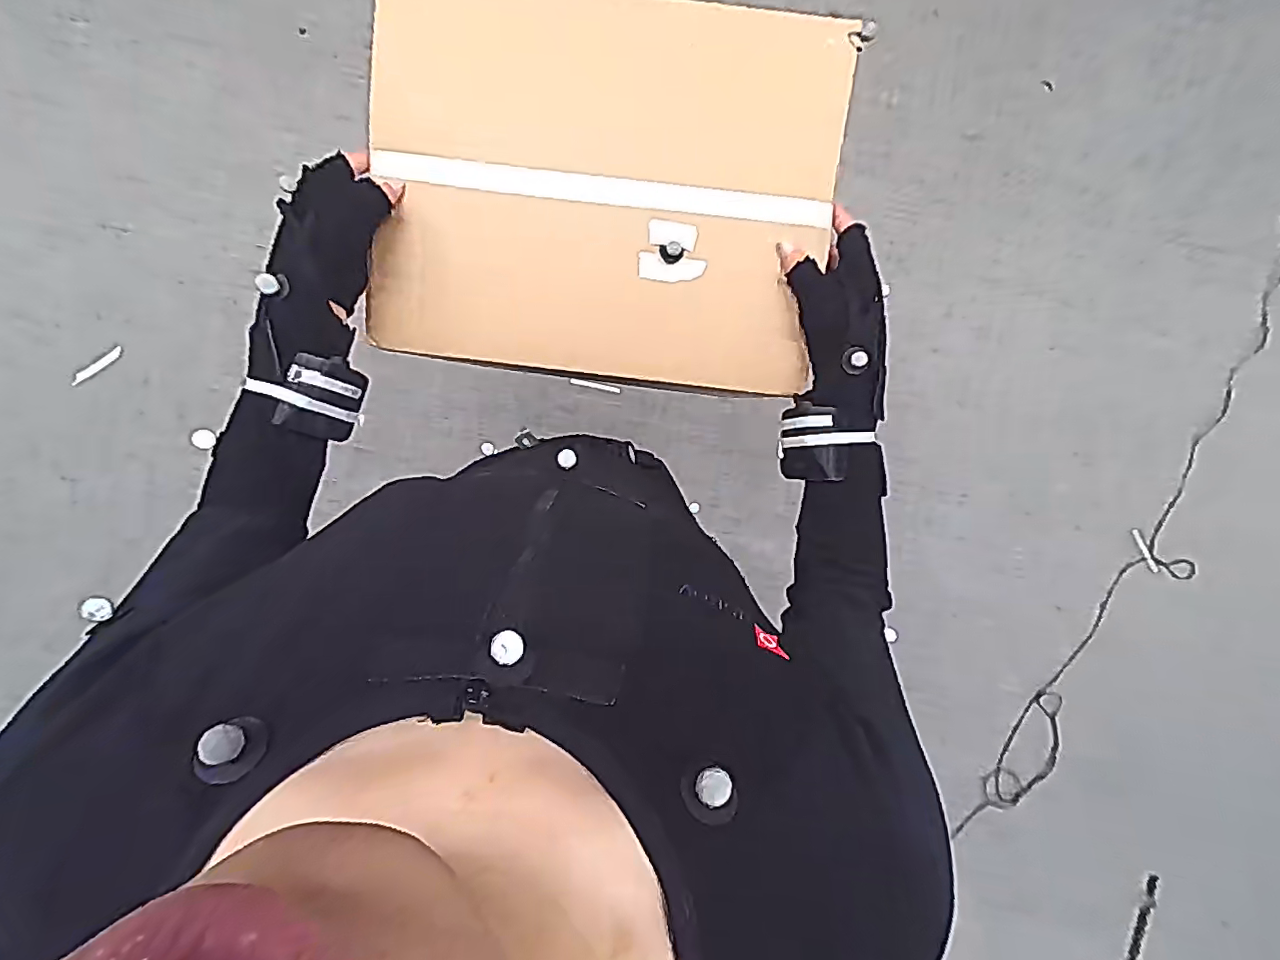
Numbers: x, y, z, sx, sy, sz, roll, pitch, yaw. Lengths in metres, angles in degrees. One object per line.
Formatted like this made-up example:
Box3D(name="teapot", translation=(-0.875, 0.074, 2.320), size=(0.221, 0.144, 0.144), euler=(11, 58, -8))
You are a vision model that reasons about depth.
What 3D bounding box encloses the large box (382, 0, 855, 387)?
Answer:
Box3D(name="large box", translation=(-0.029, -0.282, 0.625), size=(0.408, 0.320, 0.320), euler=(6, 100, -1))
